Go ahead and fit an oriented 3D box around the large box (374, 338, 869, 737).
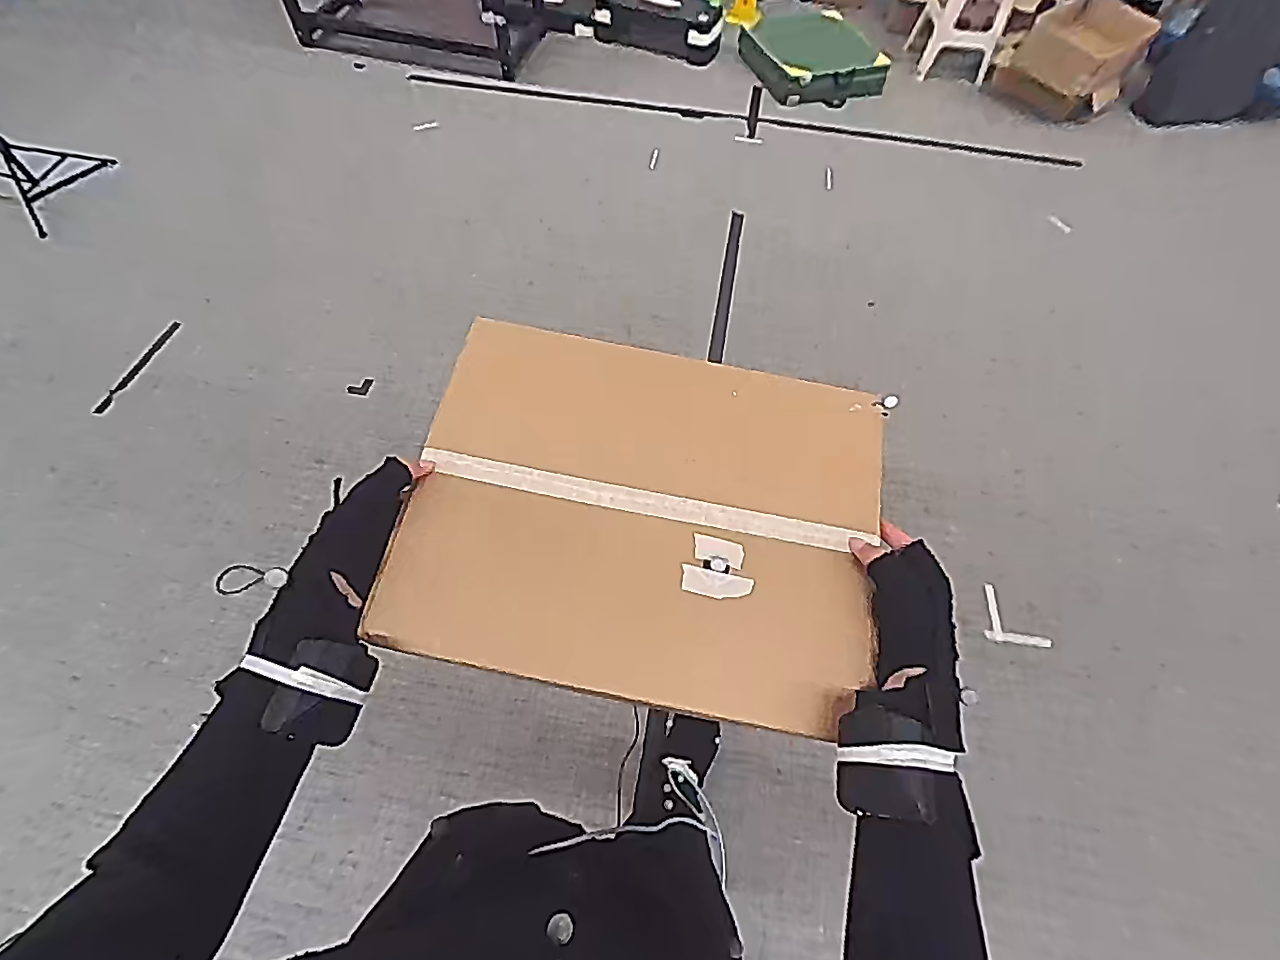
[{"bbox_3d":[-0.004,0.085,0.620,0.408,0.320,0.320,11,69,0],"label":"large box"}]
